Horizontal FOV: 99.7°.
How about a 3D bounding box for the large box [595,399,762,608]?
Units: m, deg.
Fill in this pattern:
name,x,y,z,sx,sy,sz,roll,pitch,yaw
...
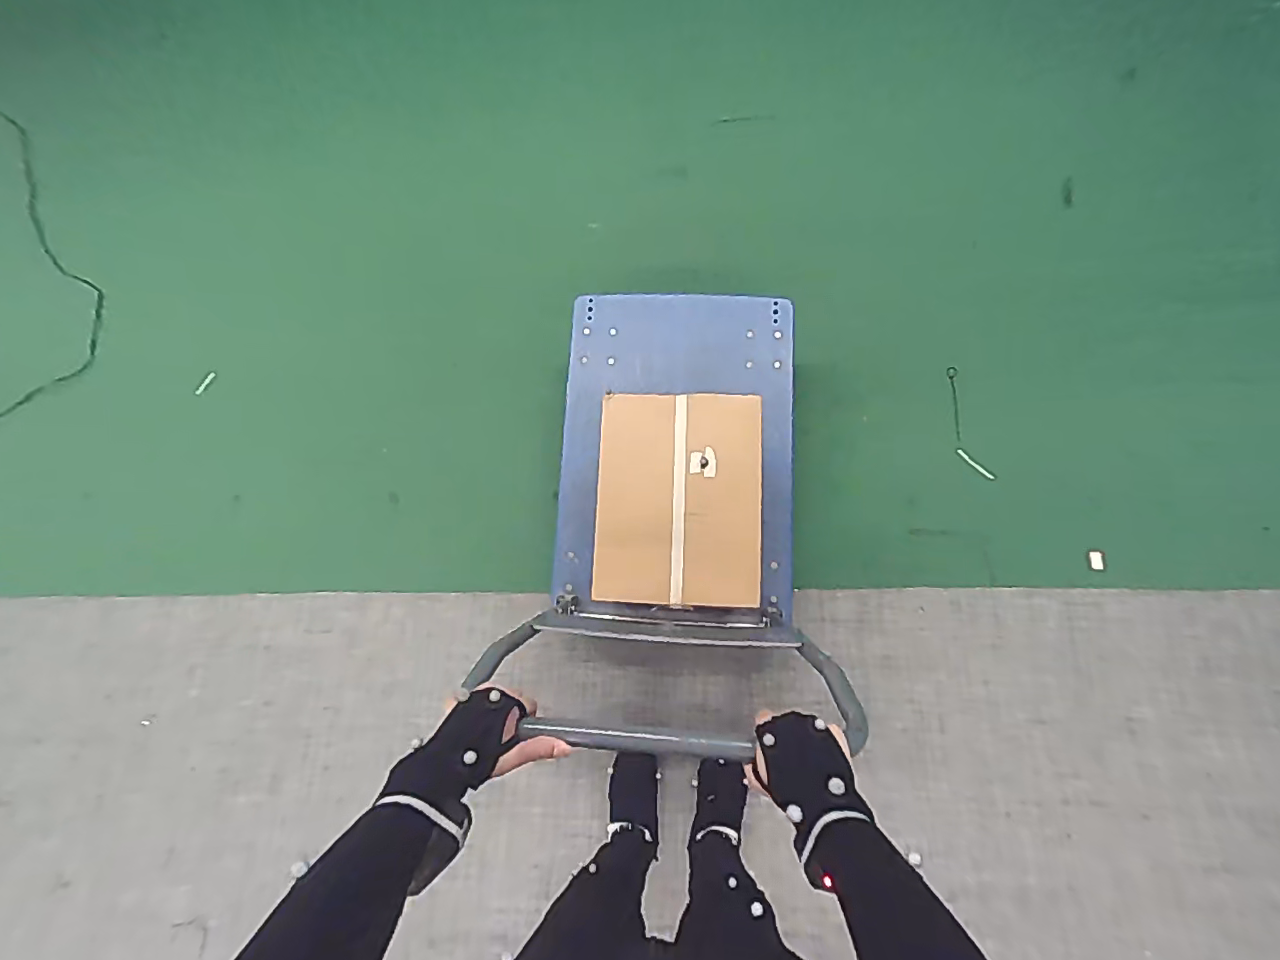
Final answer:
name,x,y,z,sx,sy,sz,roll,pitch,yaw
large box,0.088,0.064,1.177,0.320,0.320,0.408,2,80,5
